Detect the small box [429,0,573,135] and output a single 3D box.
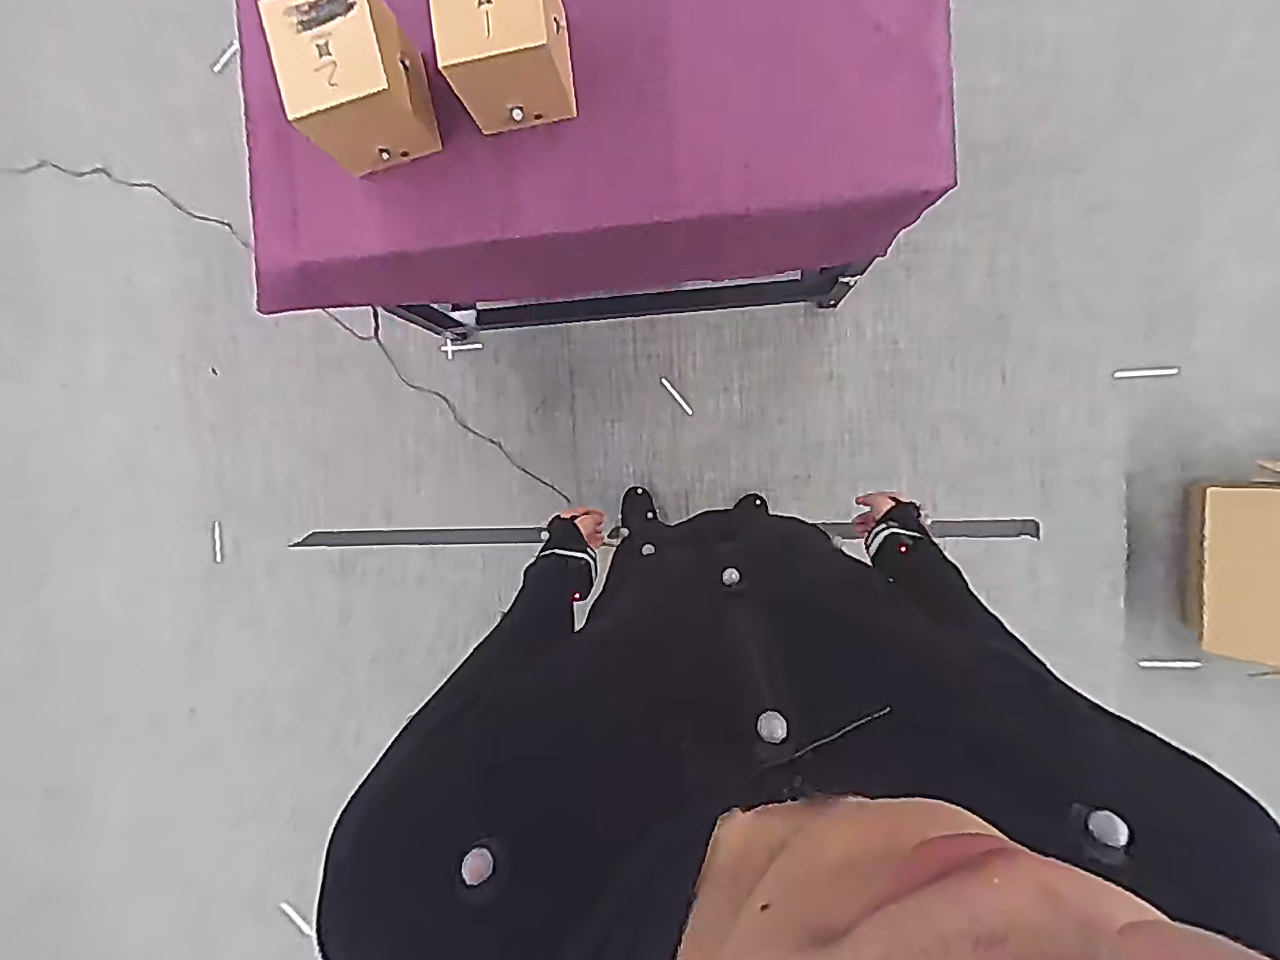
[{"bbox_3d":[-0.208,-0.681,0.837,0.168,0.176,0.179,-7,92,8],"label":"small box"}]
